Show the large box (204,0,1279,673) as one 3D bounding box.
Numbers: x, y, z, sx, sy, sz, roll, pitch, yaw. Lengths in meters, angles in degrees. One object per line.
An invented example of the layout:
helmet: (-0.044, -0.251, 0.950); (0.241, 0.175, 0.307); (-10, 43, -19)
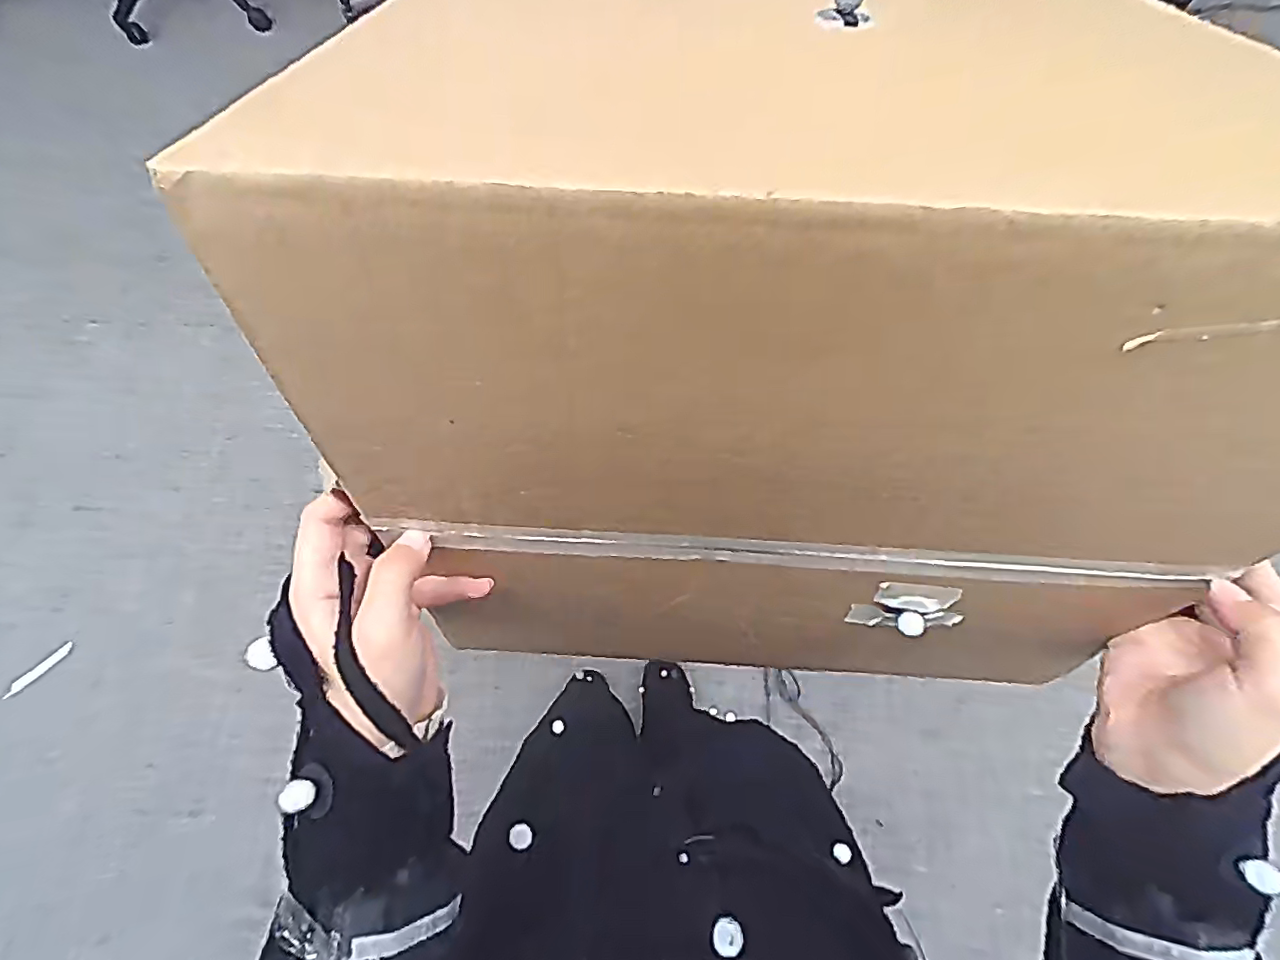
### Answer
large box: (0.075, -0.084, 0.355); (0.408, 0.320, 0.320); (2, 52, 0)
